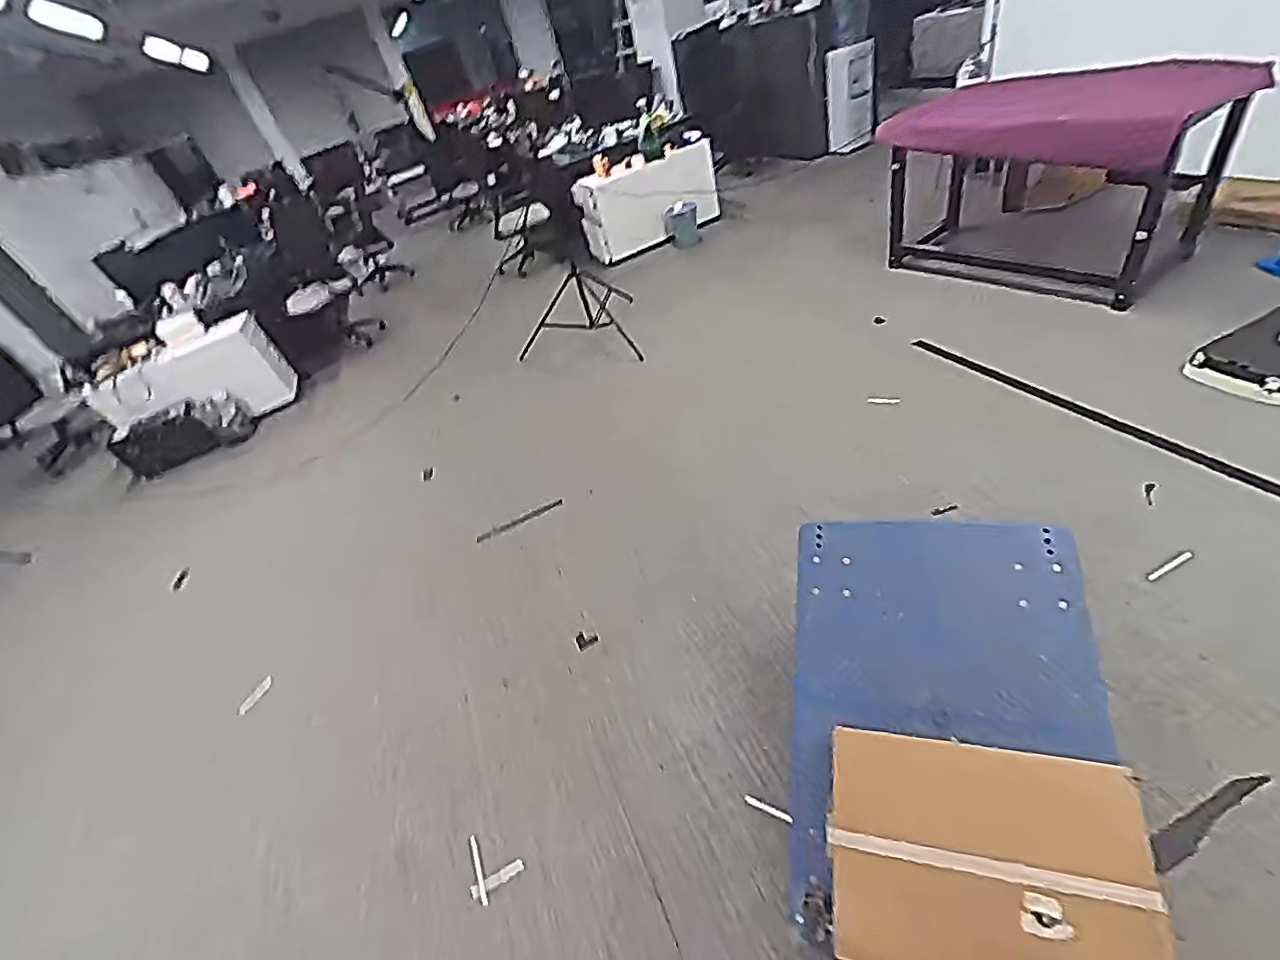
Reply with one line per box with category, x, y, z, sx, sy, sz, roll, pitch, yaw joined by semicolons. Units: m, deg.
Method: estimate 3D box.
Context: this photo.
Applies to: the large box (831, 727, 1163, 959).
large box;0.542;0.621;0.917;0.408;0.320;0.320;-1;64;21
